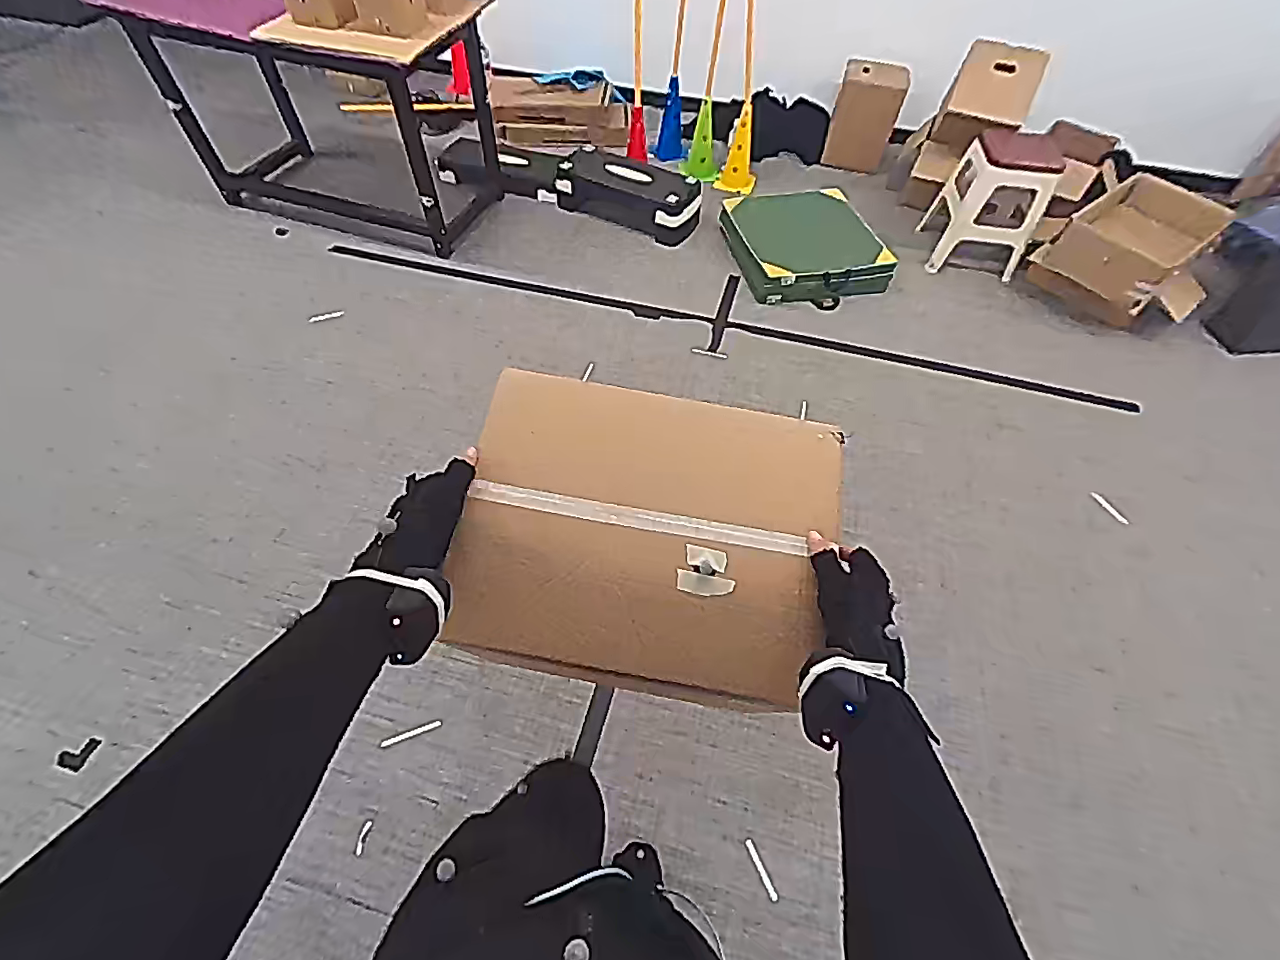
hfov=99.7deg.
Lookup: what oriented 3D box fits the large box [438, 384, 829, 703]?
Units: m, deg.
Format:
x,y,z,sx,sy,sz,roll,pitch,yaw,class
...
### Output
x,y,z,sx,sy,sz,roll,pitch,yaw,class
0.001,0.108,0.736,0.408,0.320,0.320,10,68,1,large box
